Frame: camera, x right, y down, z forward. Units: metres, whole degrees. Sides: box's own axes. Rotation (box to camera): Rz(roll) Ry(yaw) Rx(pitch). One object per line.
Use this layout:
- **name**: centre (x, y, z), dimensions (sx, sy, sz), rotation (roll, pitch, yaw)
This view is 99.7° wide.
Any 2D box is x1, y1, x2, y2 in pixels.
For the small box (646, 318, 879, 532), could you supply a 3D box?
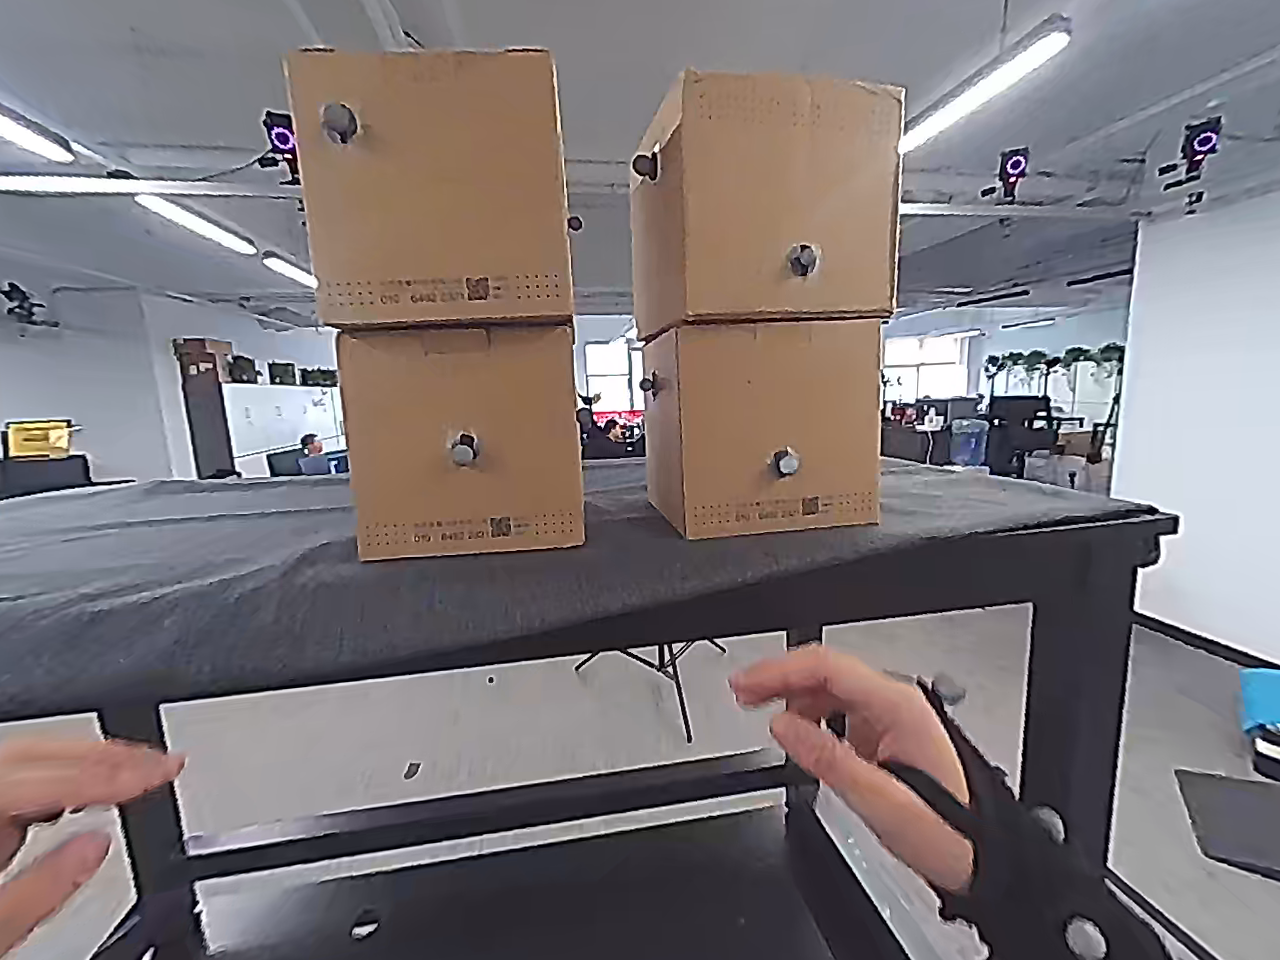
- **small box**: centre (0.100, -0.052, 0.507), dimensions (0.168, 0.176, 0.179), rotation (-5, 9, -8)

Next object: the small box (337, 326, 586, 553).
- **small box**: centre (-0.135, -0.036, 0.475), dimensions (0.168, 0.176, 0.179), rotation (-3, 9, -6)

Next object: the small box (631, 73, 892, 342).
- **small box**: centre (0.095, -0.215, 0.470), dimensions (0.179, 0.176, 0.168), rotation (-4, 8, -13)
